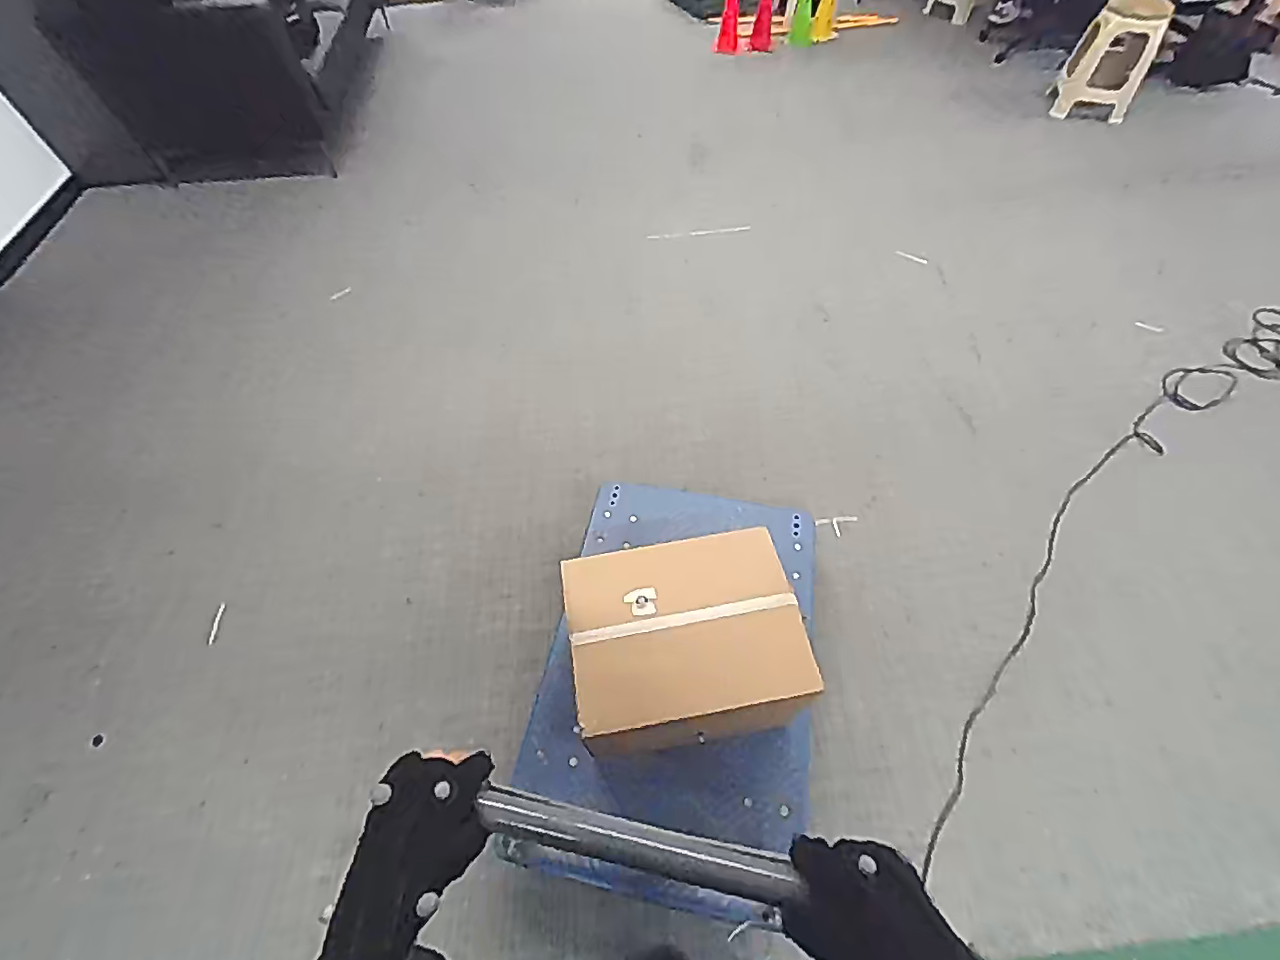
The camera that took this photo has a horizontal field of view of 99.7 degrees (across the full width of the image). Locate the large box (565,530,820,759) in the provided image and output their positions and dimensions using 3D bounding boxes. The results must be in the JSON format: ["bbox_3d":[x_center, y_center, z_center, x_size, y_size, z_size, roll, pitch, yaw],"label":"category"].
[{"bbox_3d":[0.086,0.337,1.083,0.408,0.320,0.320,-10,56,-4],"label":"large box"}]
